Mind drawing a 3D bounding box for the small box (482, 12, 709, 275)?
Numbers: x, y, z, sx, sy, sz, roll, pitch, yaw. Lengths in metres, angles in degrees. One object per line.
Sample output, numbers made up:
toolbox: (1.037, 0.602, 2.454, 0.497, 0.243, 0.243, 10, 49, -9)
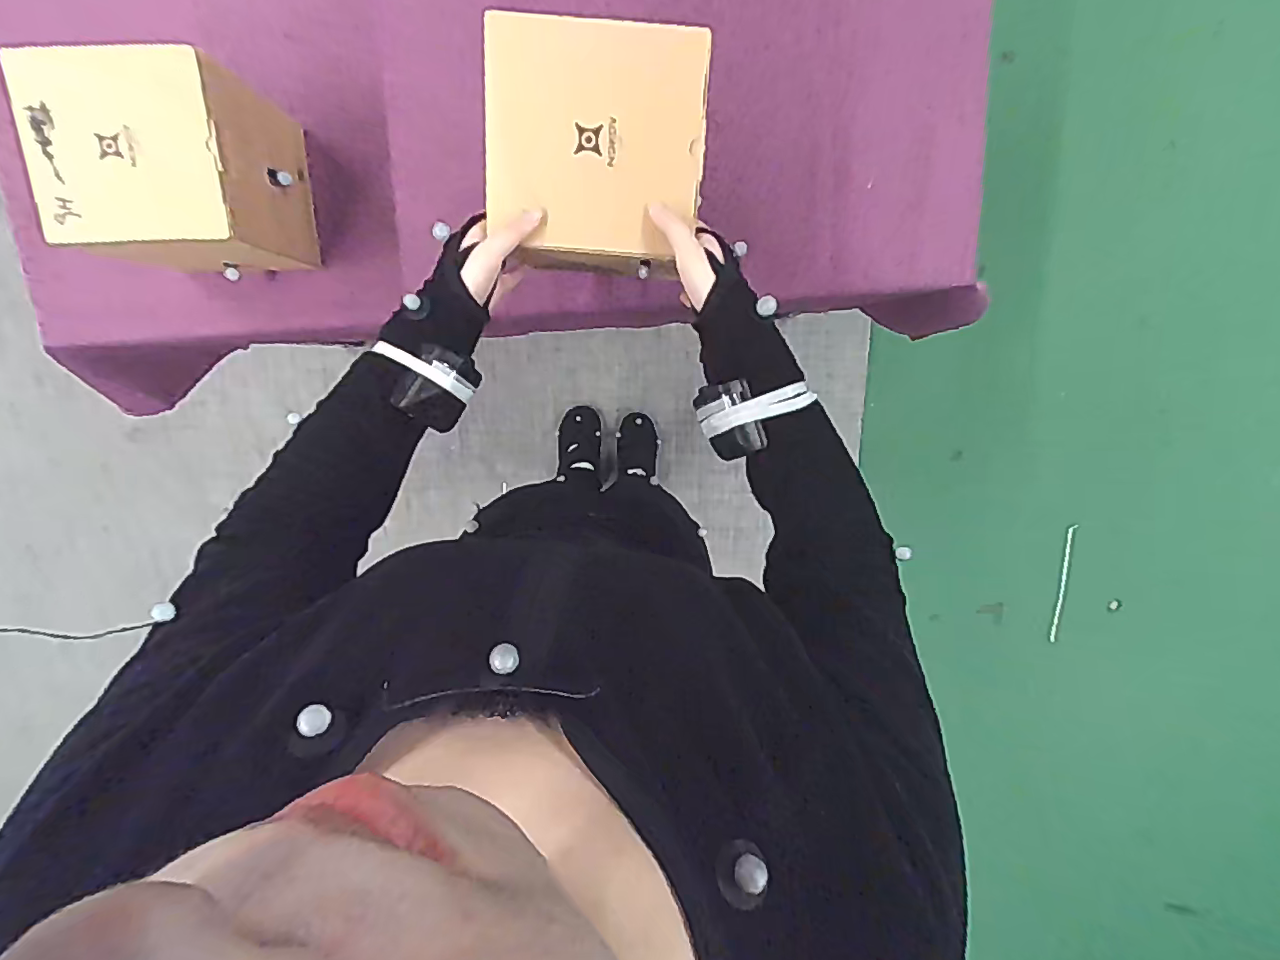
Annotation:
small box: (-0.039, -0.293, 0.511, 0.179, 0.176, 0.168, 4, 105, -1)

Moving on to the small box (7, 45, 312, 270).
small box: (-0.485, -0.328, 0.584, 0.179, 0.176, 0.168, -2, 102, -3)
